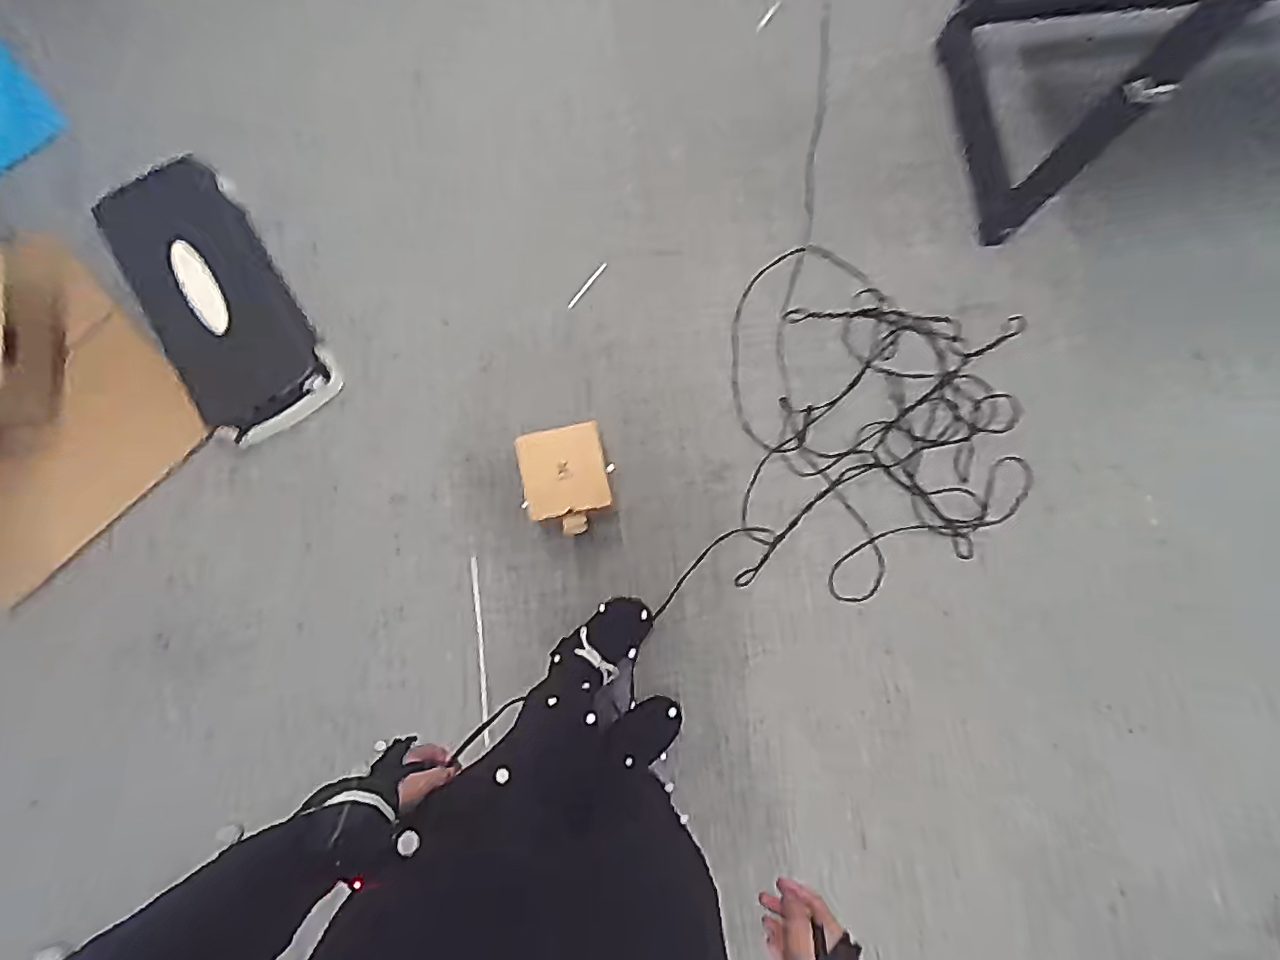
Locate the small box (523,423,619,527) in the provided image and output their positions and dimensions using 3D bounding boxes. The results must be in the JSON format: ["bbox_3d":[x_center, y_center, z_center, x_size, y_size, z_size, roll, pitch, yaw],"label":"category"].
[{"bbox_3d":[-0.141,-0.005,1.149,0.168,0.176,0.179,-12,82,-2],"label":"small box"}]
